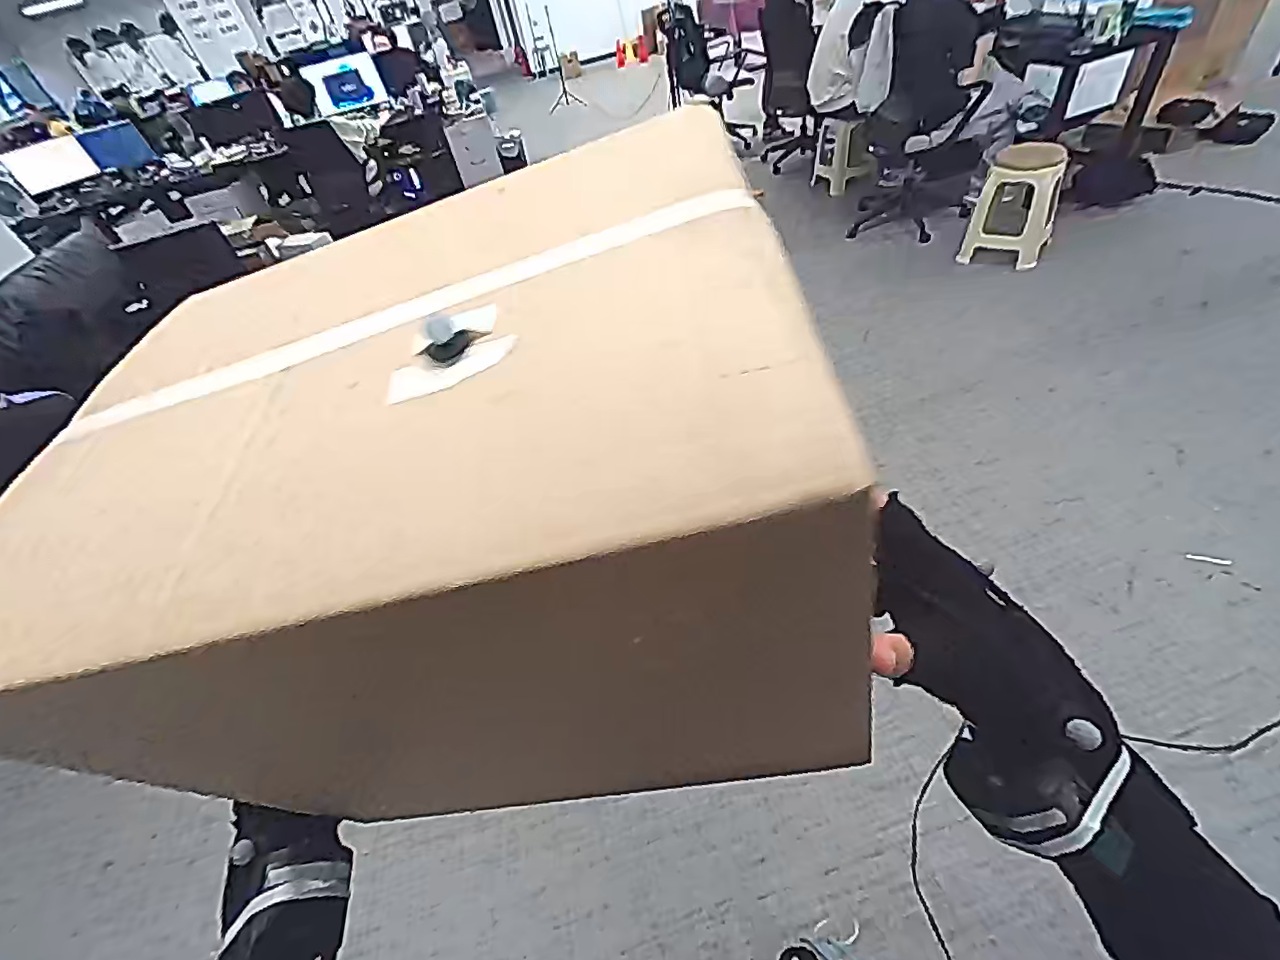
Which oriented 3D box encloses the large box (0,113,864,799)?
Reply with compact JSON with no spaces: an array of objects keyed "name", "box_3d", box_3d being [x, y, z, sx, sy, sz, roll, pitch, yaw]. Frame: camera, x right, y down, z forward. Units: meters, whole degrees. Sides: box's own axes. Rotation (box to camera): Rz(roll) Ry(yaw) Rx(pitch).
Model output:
[{"name":"large box","box_3d":[-0.087,0.017,0.399,0.408,0.320,0.320,-14,50,12]}]
